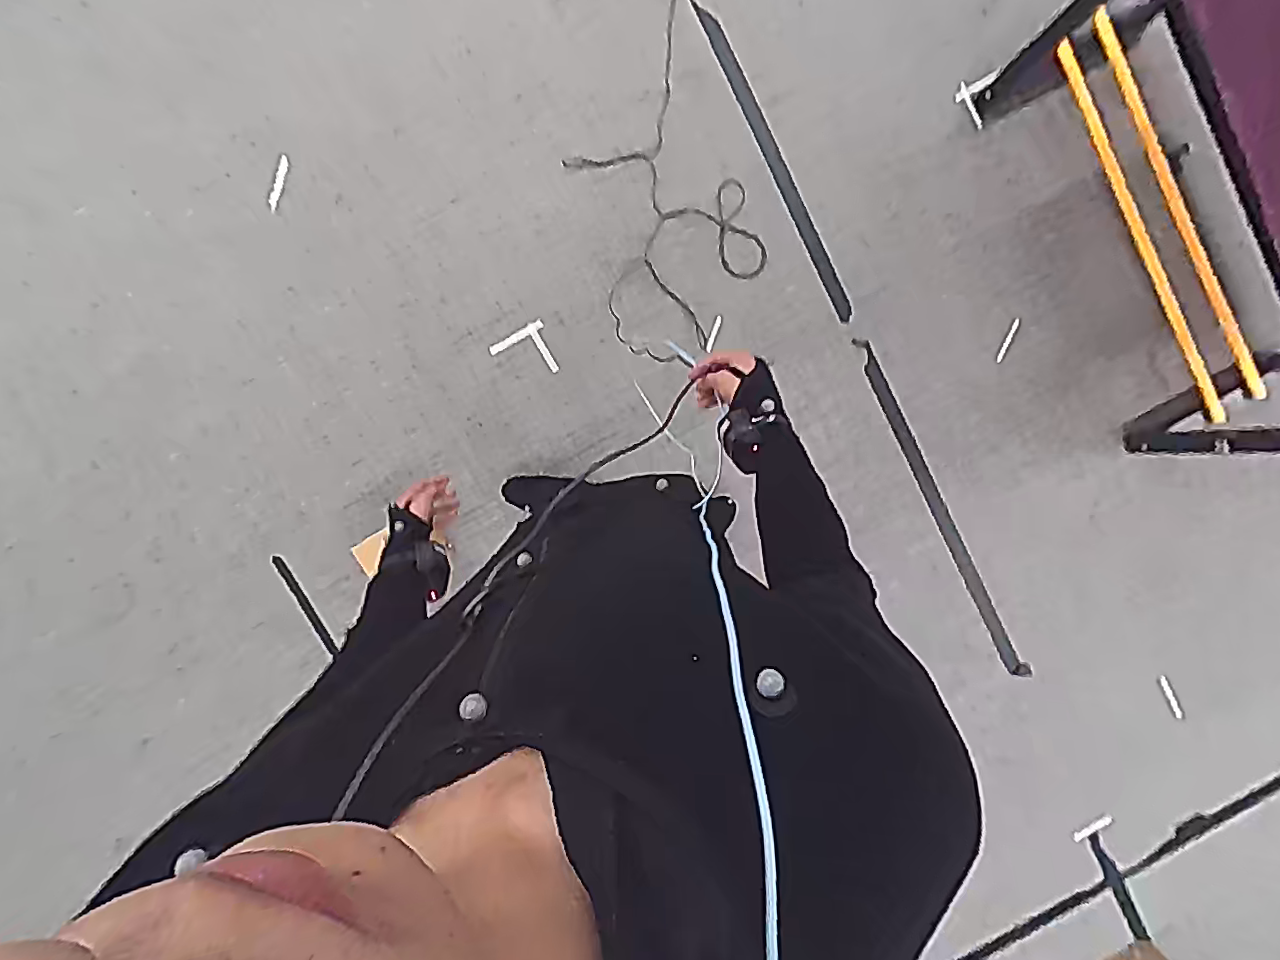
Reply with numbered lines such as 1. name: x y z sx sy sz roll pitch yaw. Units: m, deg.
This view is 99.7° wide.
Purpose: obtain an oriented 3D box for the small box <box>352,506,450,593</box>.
1. small box: -0.663 0.189 1.532 0.179 0.176 0.168 -32 94 1
